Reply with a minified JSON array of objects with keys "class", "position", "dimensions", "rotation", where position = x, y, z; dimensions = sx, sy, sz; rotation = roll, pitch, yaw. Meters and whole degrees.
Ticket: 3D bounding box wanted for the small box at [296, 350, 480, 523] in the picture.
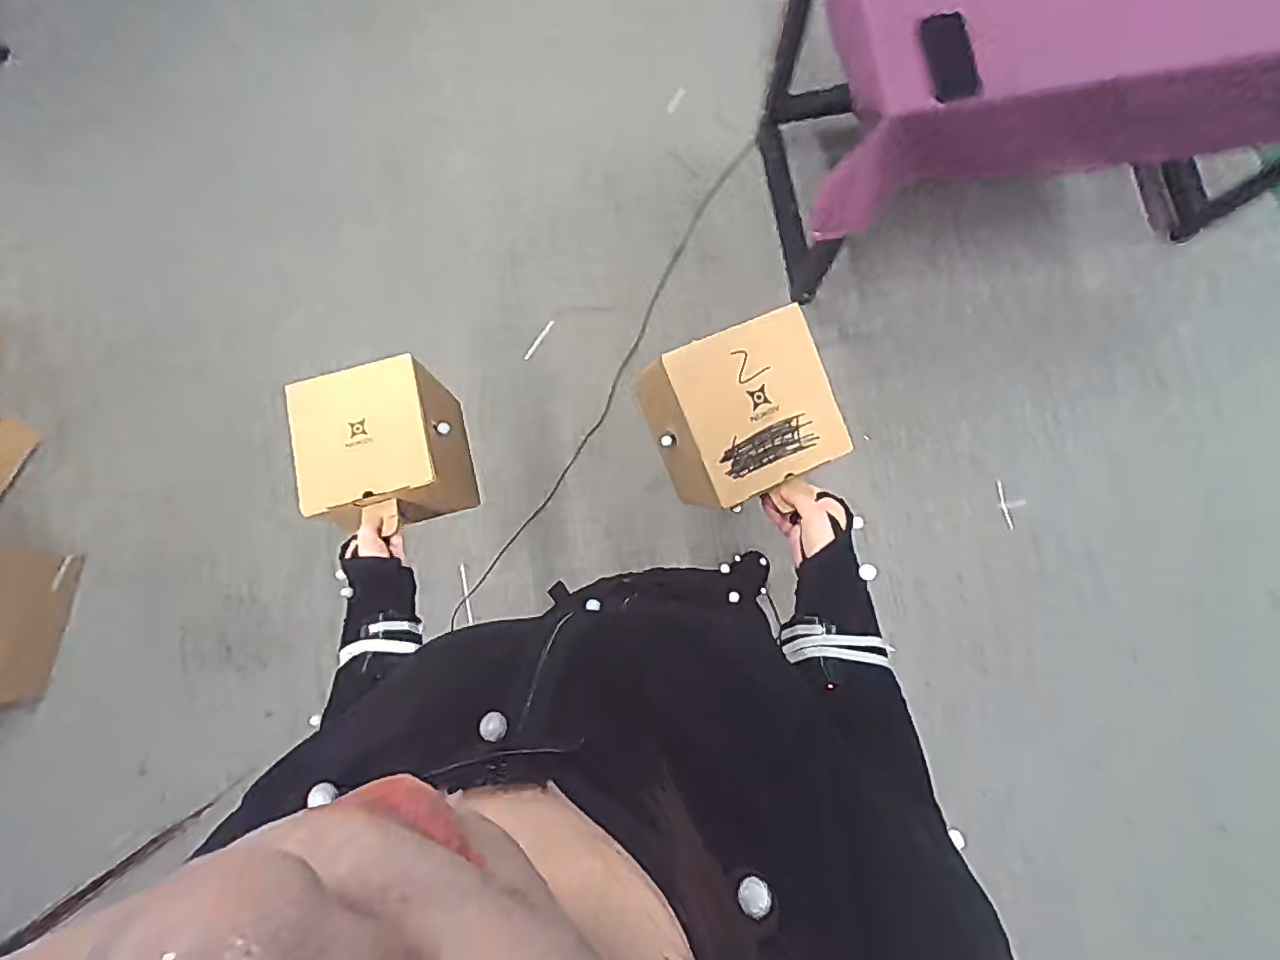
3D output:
[{"class":"small box","position":[-0.337,-0.050,0.748],"dimensions":[0.168,0.176,0.179],"rotation":[-14,79,-1]}]
